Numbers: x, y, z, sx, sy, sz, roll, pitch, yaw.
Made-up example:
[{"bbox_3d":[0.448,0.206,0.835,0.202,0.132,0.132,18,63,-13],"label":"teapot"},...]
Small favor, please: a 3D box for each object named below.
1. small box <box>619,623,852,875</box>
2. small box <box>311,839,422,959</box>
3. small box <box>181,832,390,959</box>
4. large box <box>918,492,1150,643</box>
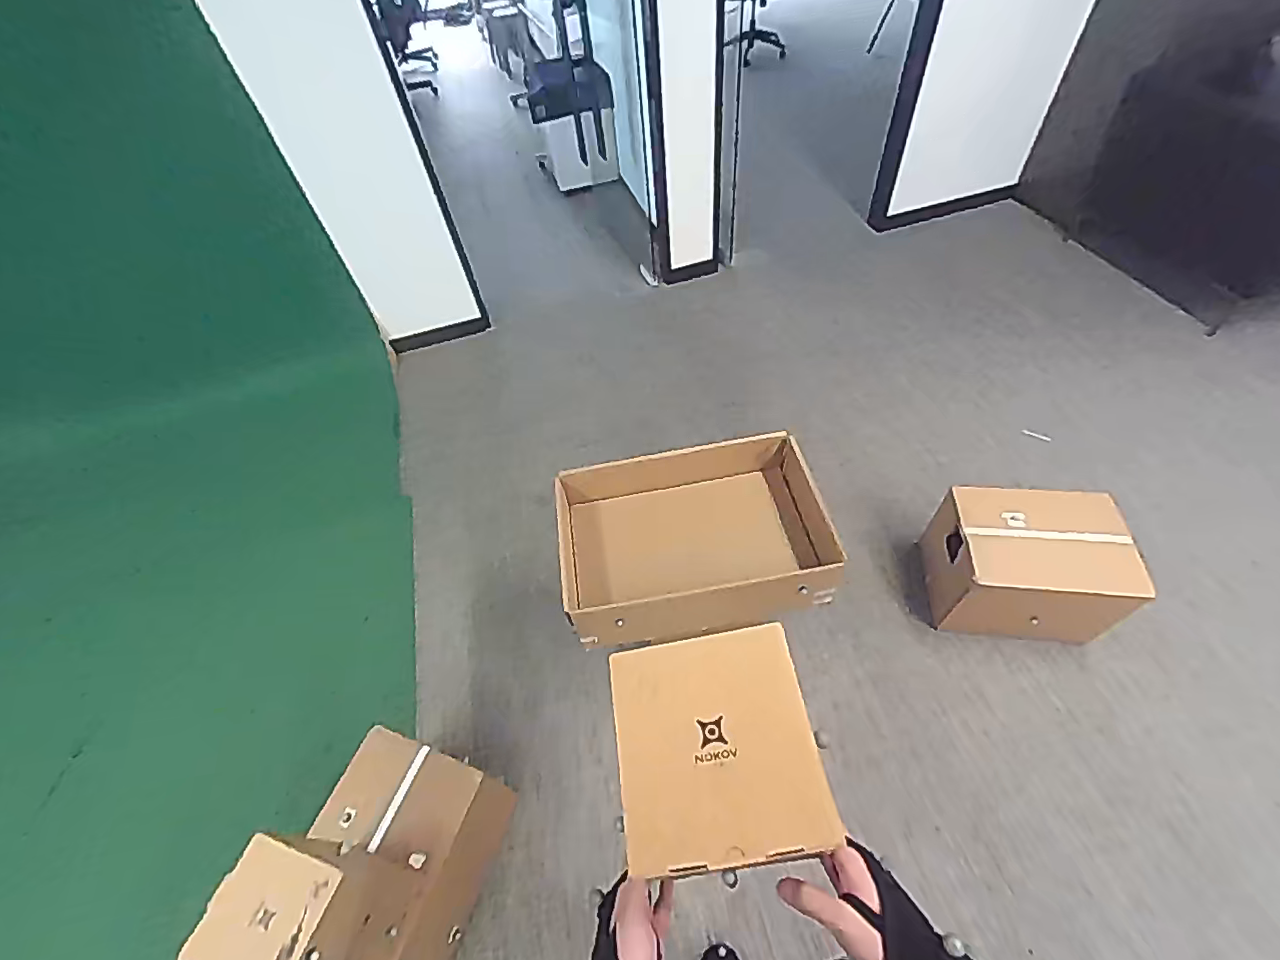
[{"bbox_3d":[0.081,0.261,0.517,0.168,0.176,0.179,-12,54,4],"label":"small box"},{"bbox_3d":[-0.536,0.784,0.981,0.179,0.176,0.168,13,55,14],"label":"small box"},{"bbox_3d":[-0.539,0.686,0.849,0.179,0.176,0.168,12,54,15],"label":"small box"},{"bbox_3d":[1.067,0.250,1.530,0.408,0.320,0.320,2,52,9],"label":"large box"}]
